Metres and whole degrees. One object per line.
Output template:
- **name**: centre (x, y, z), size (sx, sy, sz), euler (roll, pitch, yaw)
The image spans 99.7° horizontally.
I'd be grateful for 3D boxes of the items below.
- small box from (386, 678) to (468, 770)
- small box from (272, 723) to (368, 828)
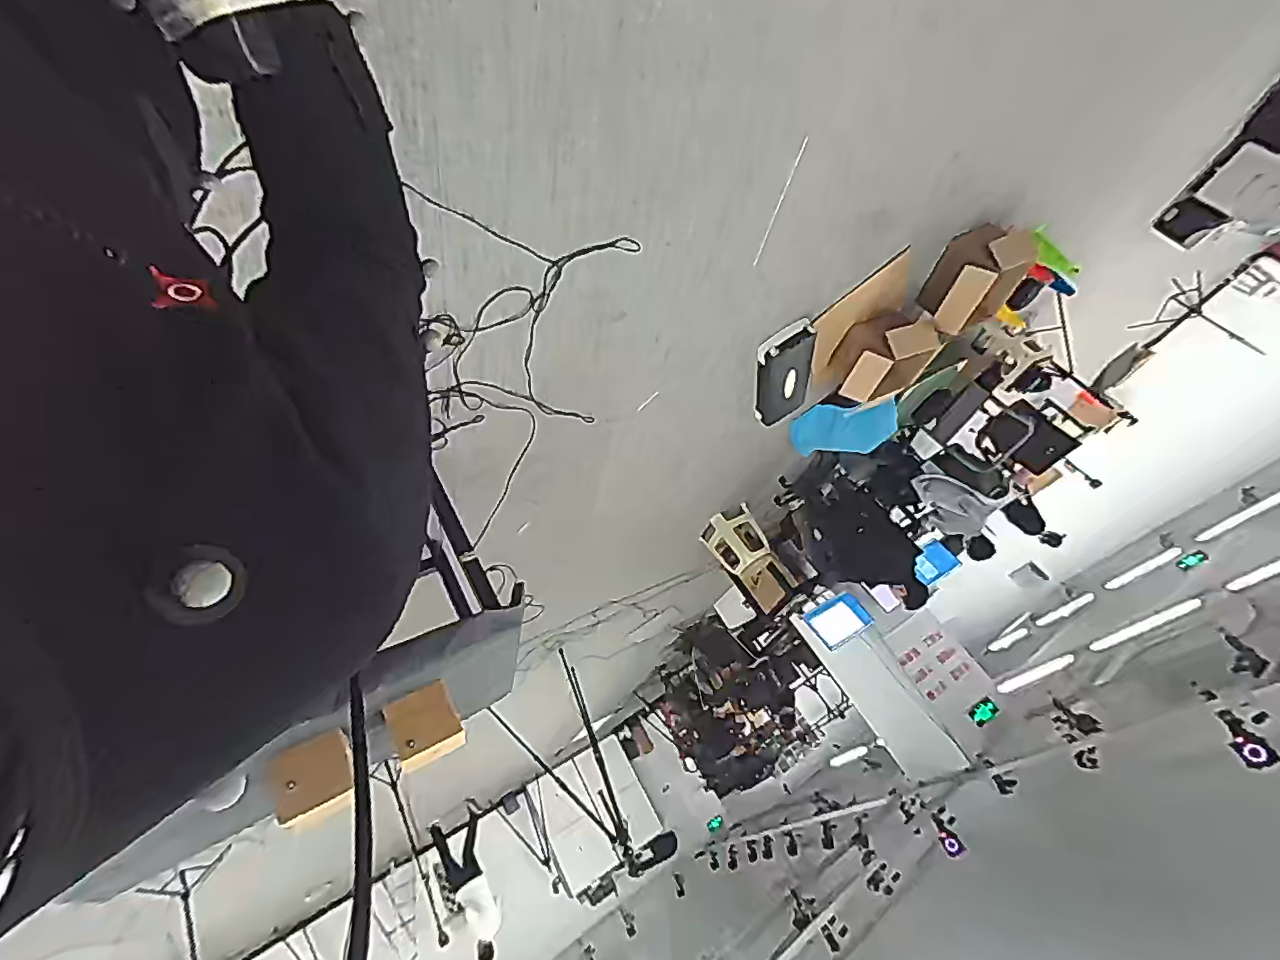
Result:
- **small box**: centre (-0.615, 0.702, 1.568), size (0.179, 0.176, 0.168), euler (-19, 150, -27)
- **small box**: centre (-0.848, 0.779, 1.430), size (0.179, 0.176, 0.168), euler (-20, 152, -29)
